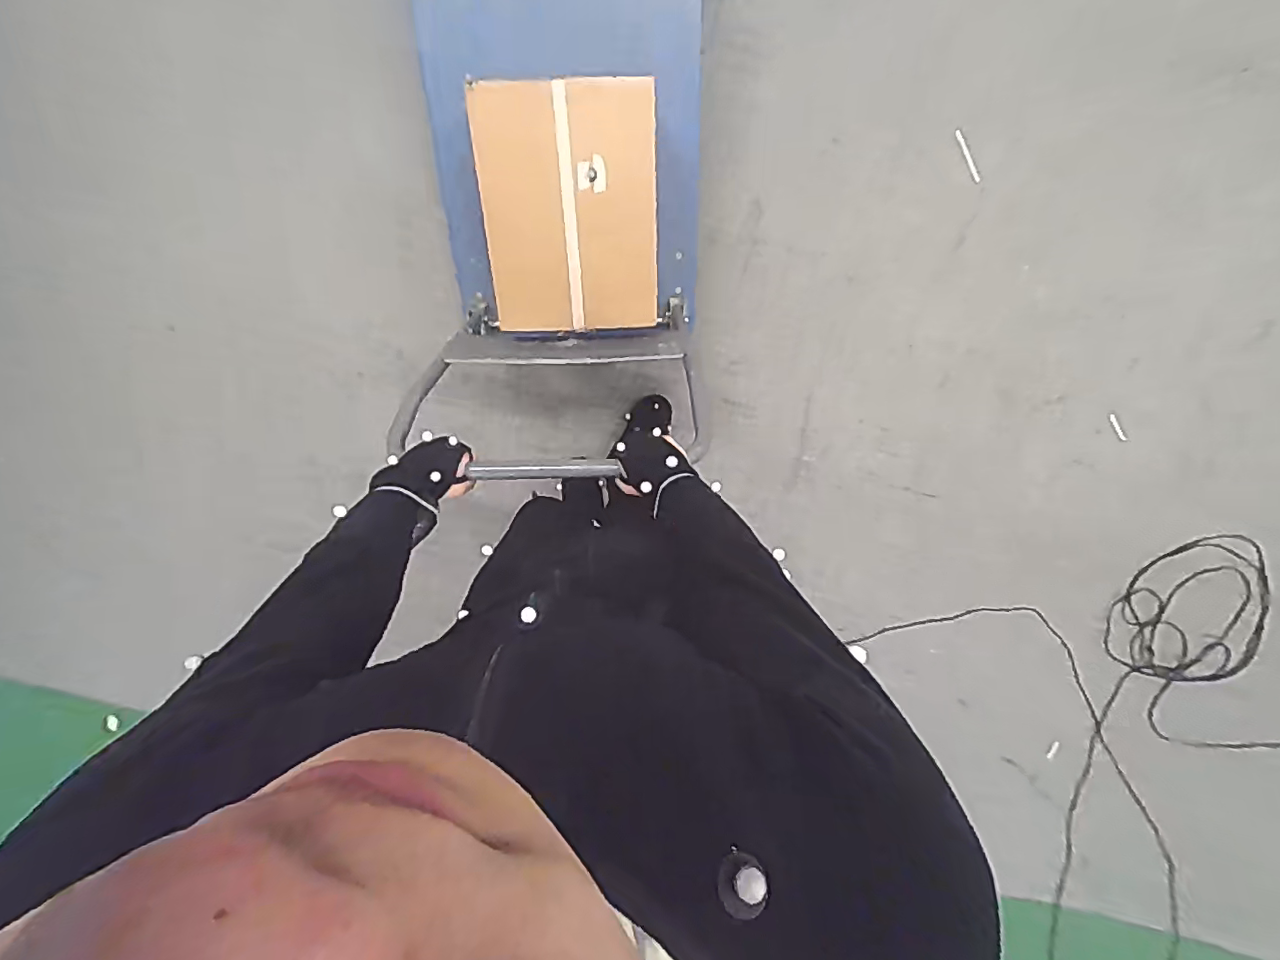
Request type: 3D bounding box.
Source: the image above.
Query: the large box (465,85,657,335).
[{"bbox_3d":[-0.131,-0.538,1.113,0.320,0.320,0.408,-2,118,-1],"label":"large box"}]
